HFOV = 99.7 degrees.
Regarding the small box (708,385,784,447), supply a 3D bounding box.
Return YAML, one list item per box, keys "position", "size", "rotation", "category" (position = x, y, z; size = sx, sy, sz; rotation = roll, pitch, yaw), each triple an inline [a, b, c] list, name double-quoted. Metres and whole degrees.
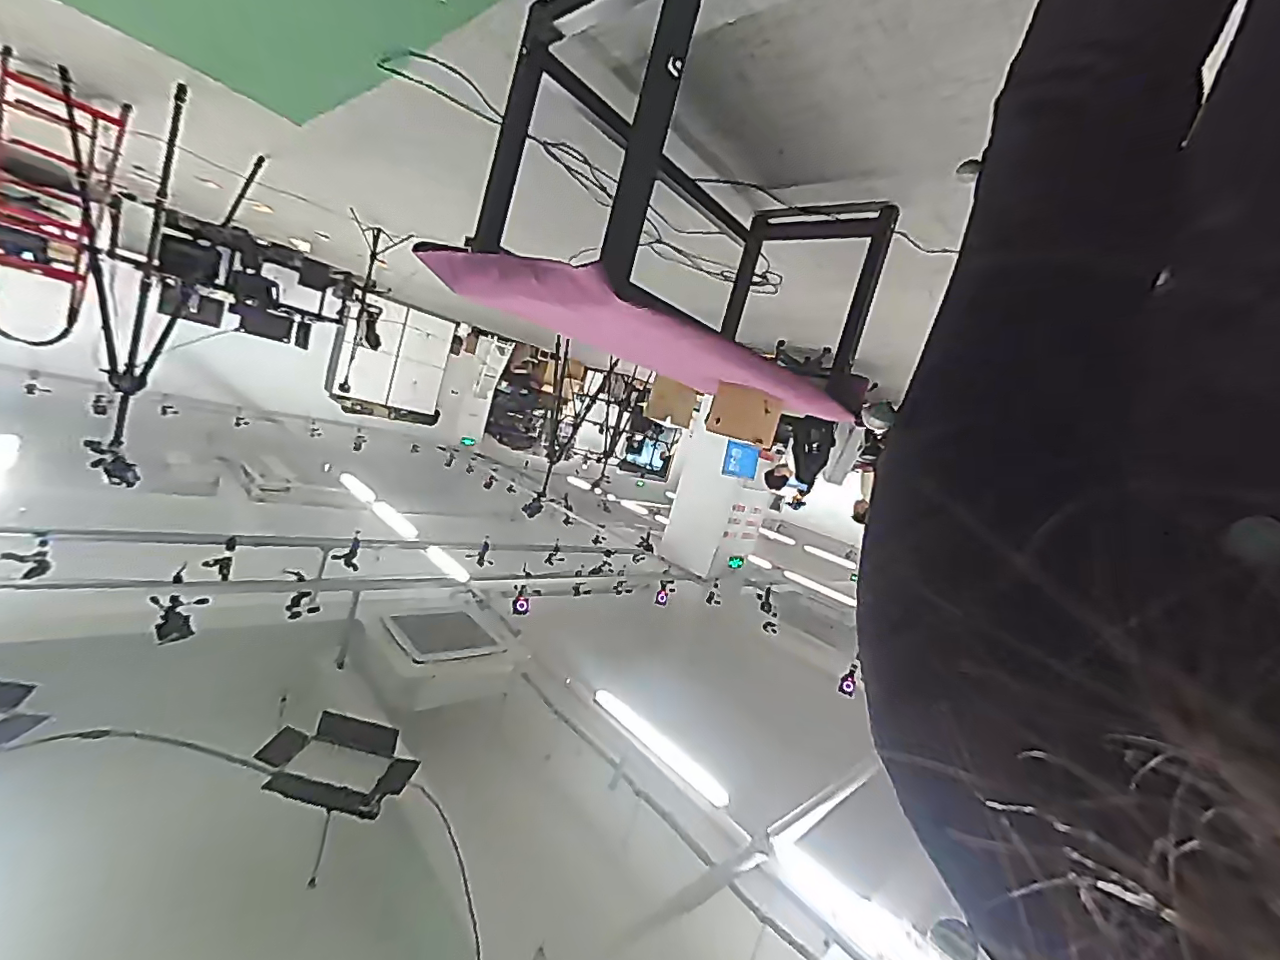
- position: [0.373, -0.226, 1.887]
  size: [0.168, 0.176, 0.179]
  rotation: [10, -172, -41]
  category: "small box"
